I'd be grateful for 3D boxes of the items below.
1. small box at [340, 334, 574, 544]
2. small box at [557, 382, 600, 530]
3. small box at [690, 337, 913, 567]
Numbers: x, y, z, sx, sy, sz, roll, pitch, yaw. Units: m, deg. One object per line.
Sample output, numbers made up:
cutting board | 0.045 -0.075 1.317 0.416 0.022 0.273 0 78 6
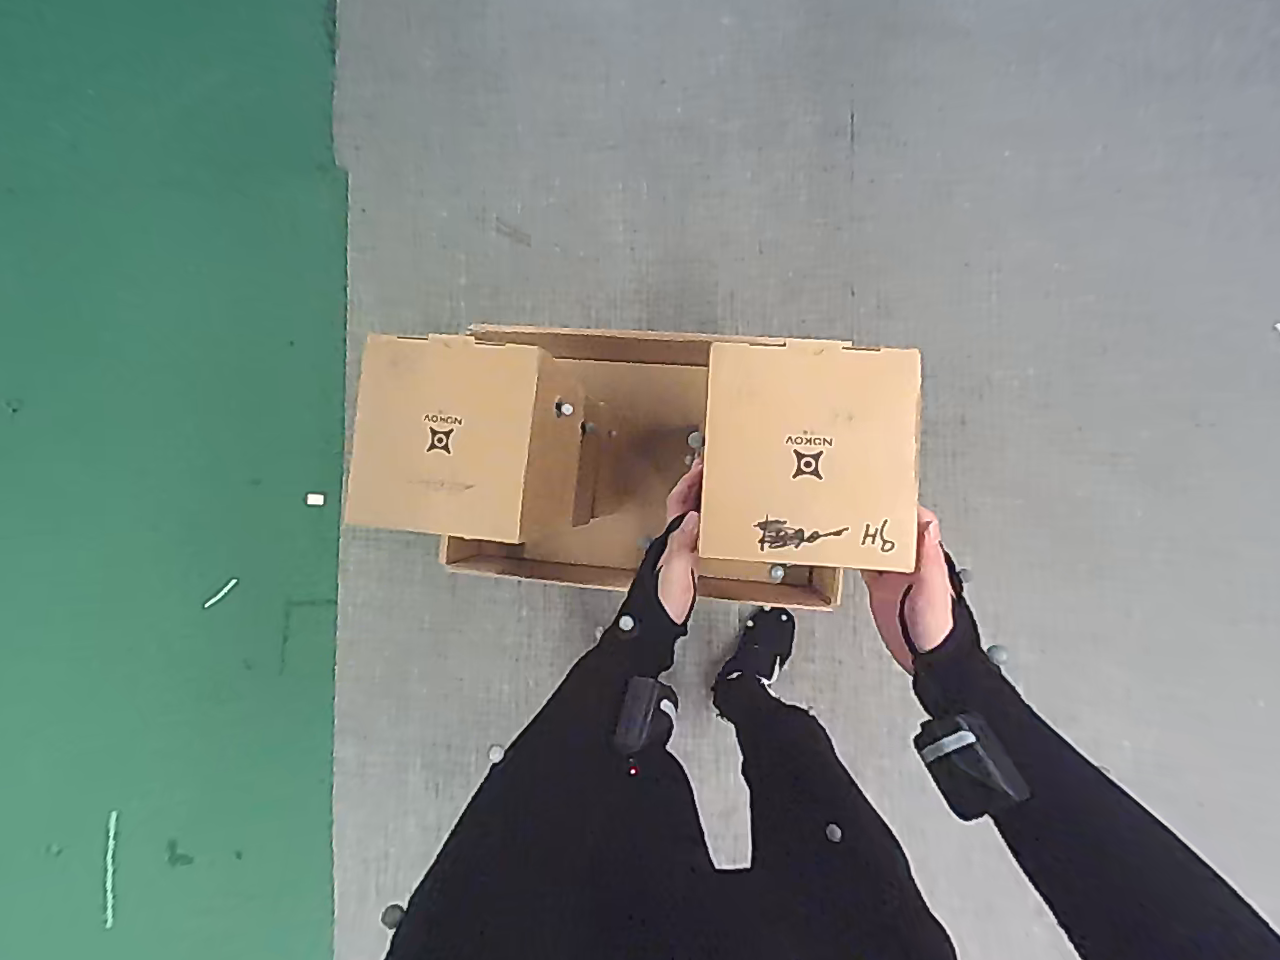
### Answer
small box | -0.171 -0.036 0.558 0.168 0.176 0.179 6 89 8
small box | -0.153 -0.035 0.721 0.168 0.176 0.179 6 90 7
small box | 0.133 -0.018 0.500 0.168 0.176 0.179 3 86 6
